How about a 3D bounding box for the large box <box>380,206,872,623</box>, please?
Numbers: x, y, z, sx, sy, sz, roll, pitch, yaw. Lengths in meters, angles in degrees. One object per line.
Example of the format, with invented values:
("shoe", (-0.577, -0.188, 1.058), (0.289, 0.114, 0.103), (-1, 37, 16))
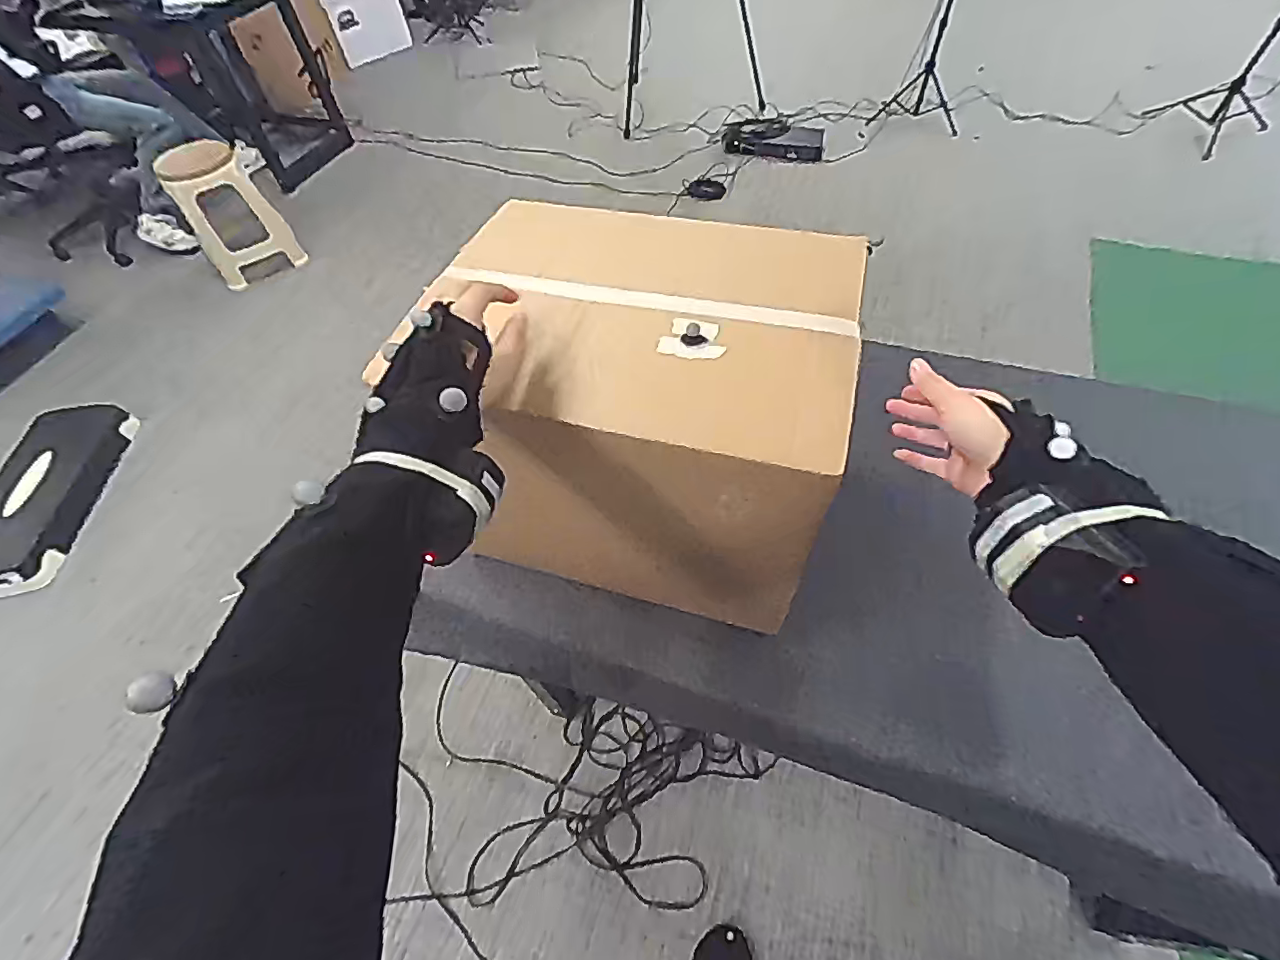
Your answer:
("large box", (0.010, -0.075, 0.629), (0.408, 0.320, 0.320), (13, 56, 11))
